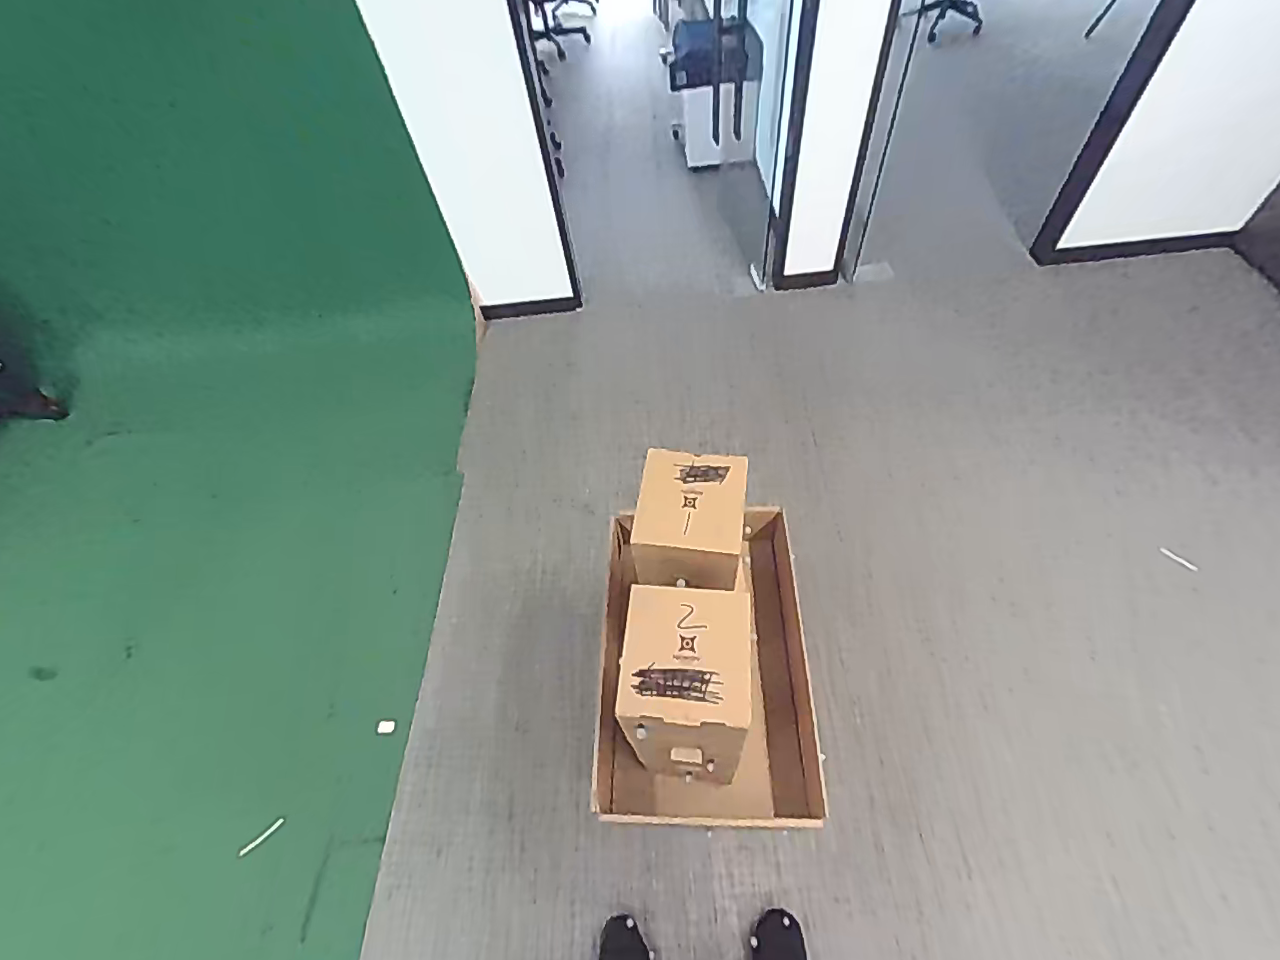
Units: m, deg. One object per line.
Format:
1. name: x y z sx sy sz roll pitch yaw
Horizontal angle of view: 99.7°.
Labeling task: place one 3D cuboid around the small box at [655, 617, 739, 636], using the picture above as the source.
1. small box: 0.120 0.259 1.167 0.168 0.176 0.179 -2 55 5

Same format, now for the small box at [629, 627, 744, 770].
1. small box: 0.082 0.363 0.890 0.168 0.176 0.179 3 53 8

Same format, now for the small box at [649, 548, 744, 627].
1. small box: 0.103 0.169 1.033 0.168 0.176 0.179 -2 56 4

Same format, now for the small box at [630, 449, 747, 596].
1. small box: 0.085 0.073 0.901 0.168 0.176 0.179 5 57 10
